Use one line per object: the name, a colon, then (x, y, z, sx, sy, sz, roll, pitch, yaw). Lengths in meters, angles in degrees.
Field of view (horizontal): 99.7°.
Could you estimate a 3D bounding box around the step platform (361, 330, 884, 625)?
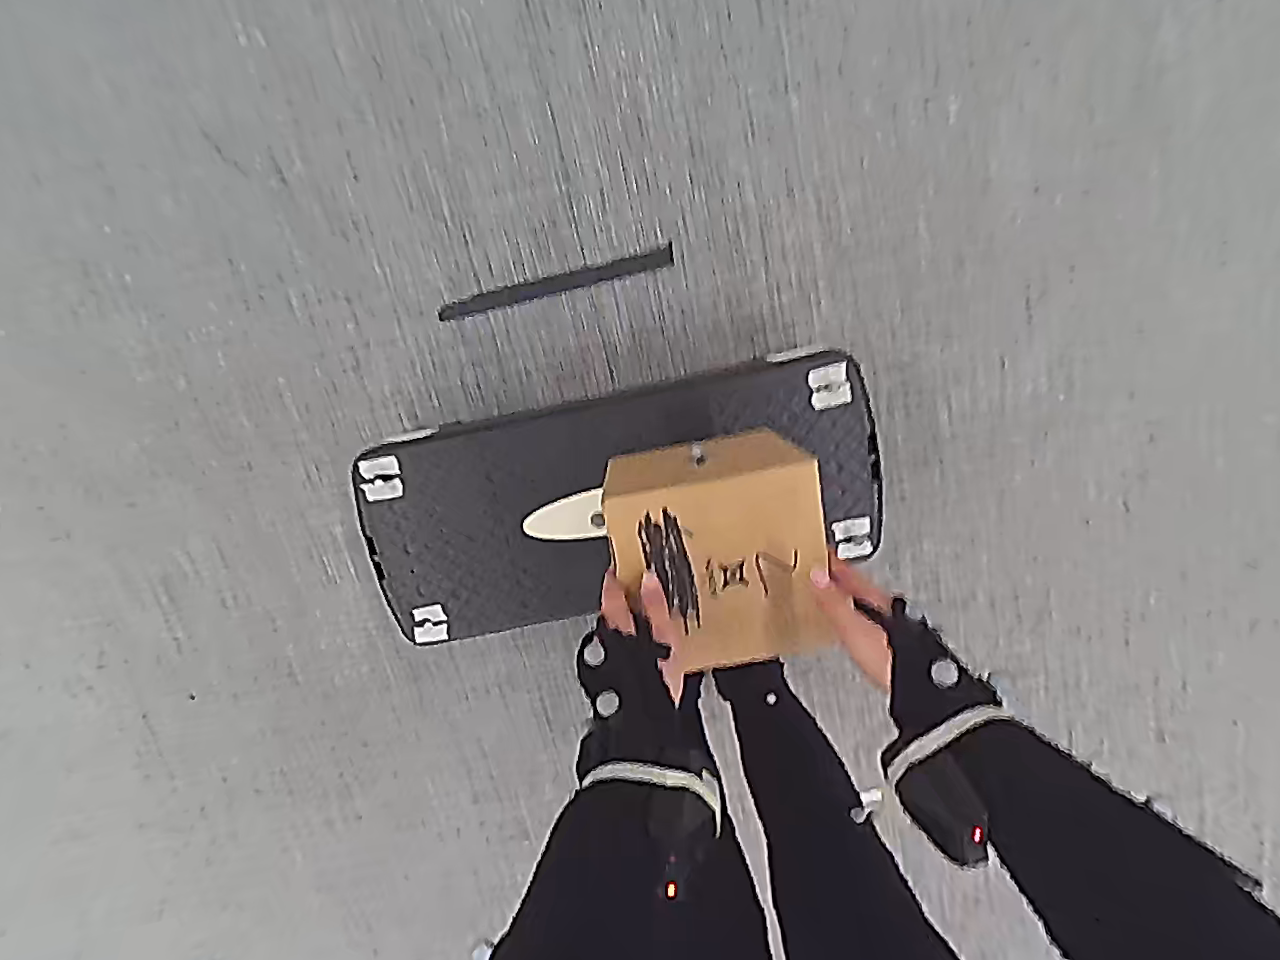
step platform: (-0.021, -0.007, 0.773, 0.684, 0.204, 0.286, -12, 101, 3)
